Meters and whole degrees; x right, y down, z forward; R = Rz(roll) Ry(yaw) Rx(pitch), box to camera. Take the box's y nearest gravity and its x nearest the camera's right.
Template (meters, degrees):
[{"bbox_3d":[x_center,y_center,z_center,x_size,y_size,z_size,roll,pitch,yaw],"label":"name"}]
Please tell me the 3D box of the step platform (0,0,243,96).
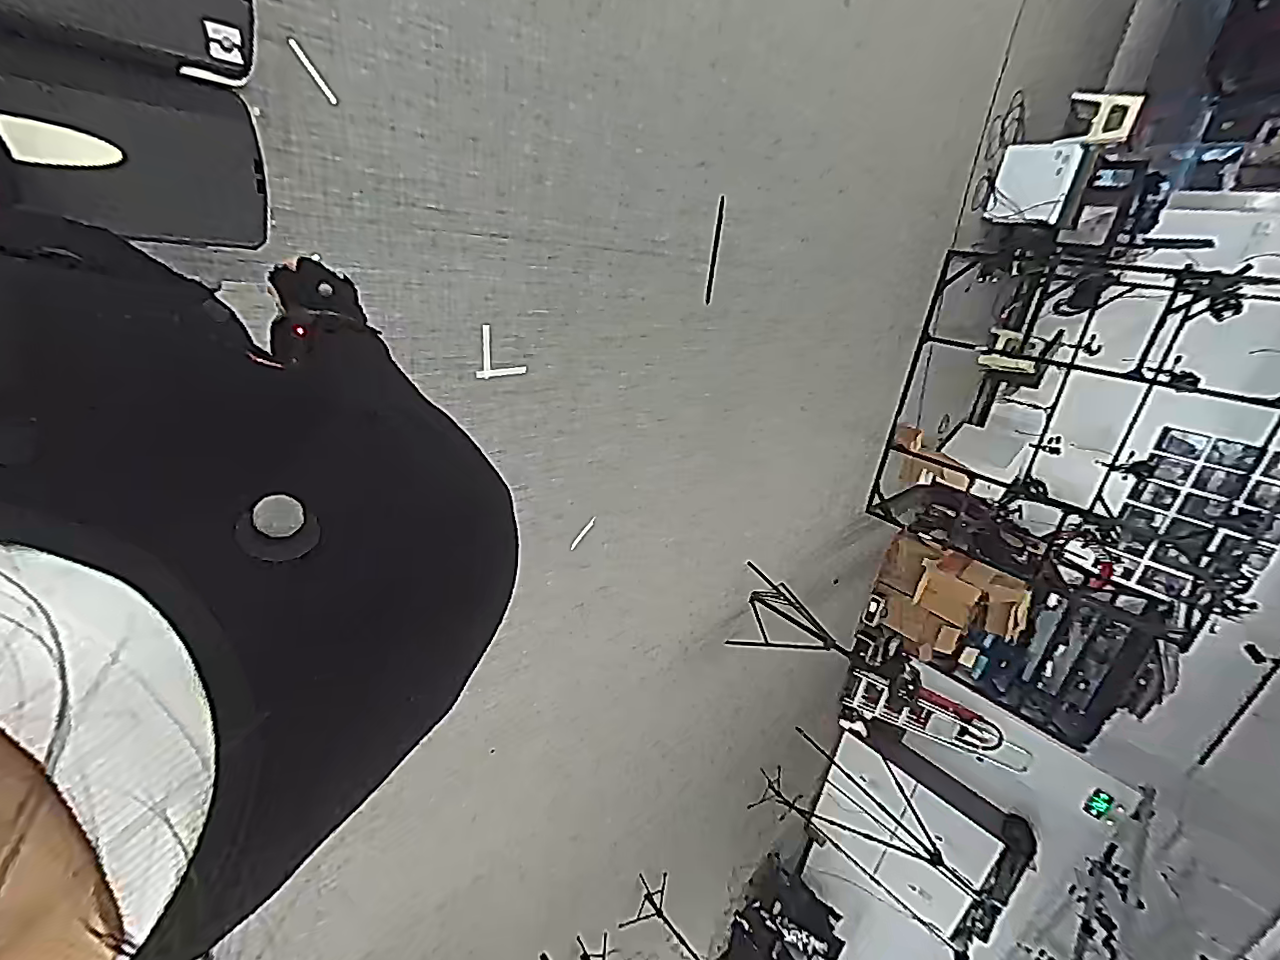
[{"bbox_3d":[-0.958,-0.768,0.724,0.684,0.204,0.286,-16,124,-42],"label":"step platform"}]
